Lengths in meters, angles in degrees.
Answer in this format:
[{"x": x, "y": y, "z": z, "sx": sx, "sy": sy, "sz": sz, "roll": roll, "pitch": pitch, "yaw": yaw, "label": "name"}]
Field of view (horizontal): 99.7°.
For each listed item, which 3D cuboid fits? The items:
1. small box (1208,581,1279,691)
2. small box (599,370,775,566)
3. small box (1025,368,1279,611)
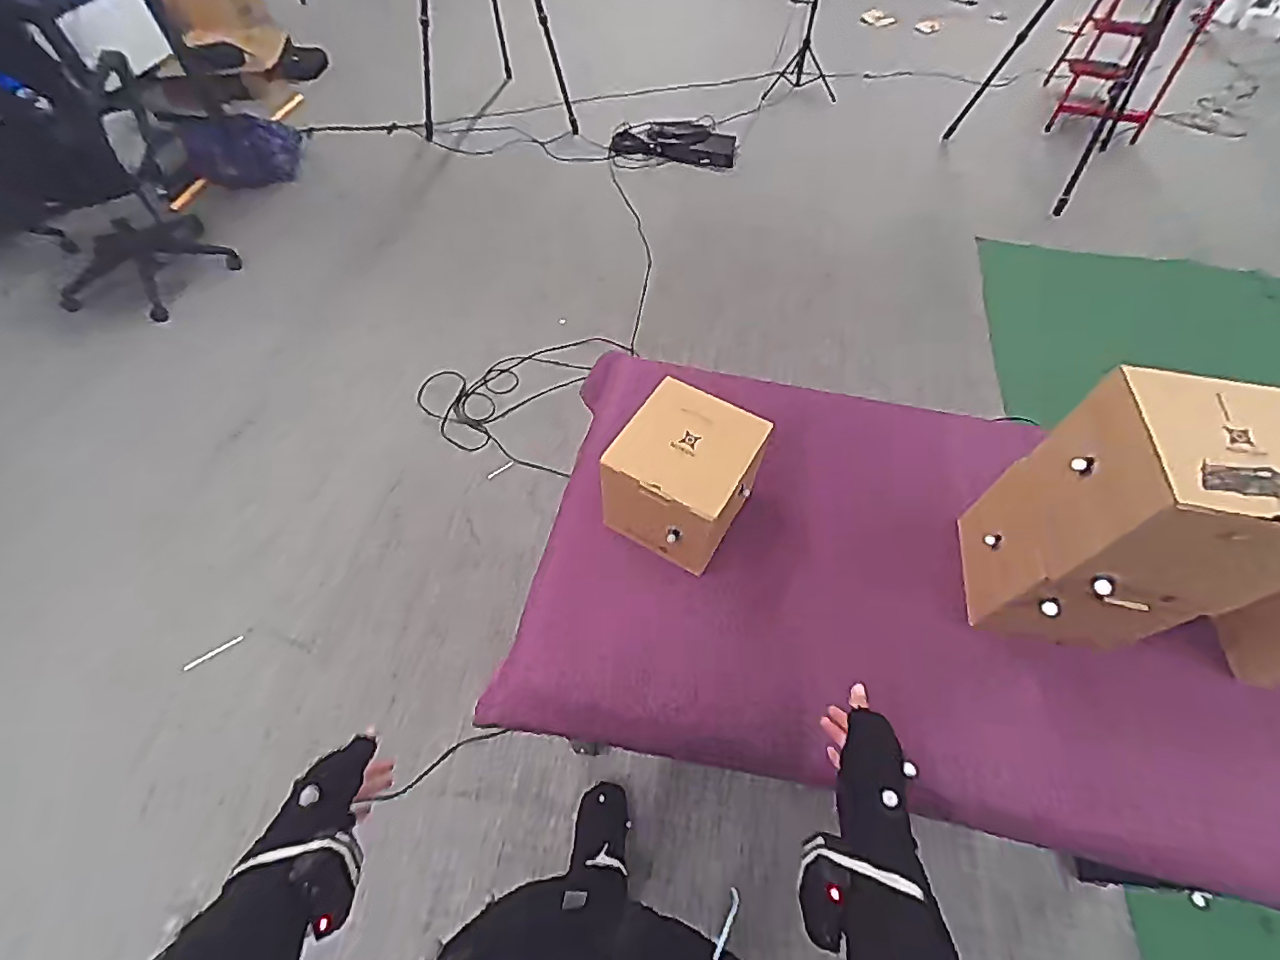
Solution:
[{"x": 0.857, "y": 0.158, "z": 0.669, "sx": 0.168, "sy": 0.176, "sz": 0.179, "roll": 8, "pitch": 57, "yaw": 5, "label": "small box"}, {"x": 0.062, "y": -0.011, "z": 0.746, "sx": 0.168, "sy": 0.176, "sz": 0.179, "roll": 28, "pitch": 60, "yaw": 16, "label": "small box"}, {"x": 0.544, "y": 0.016, "z": 0.559, "sx": 0.168, "sy": 0.176, "sz": 0.179, "roll": 11, "pitch": 55, "yaw": 6, "label": "small box"}]
